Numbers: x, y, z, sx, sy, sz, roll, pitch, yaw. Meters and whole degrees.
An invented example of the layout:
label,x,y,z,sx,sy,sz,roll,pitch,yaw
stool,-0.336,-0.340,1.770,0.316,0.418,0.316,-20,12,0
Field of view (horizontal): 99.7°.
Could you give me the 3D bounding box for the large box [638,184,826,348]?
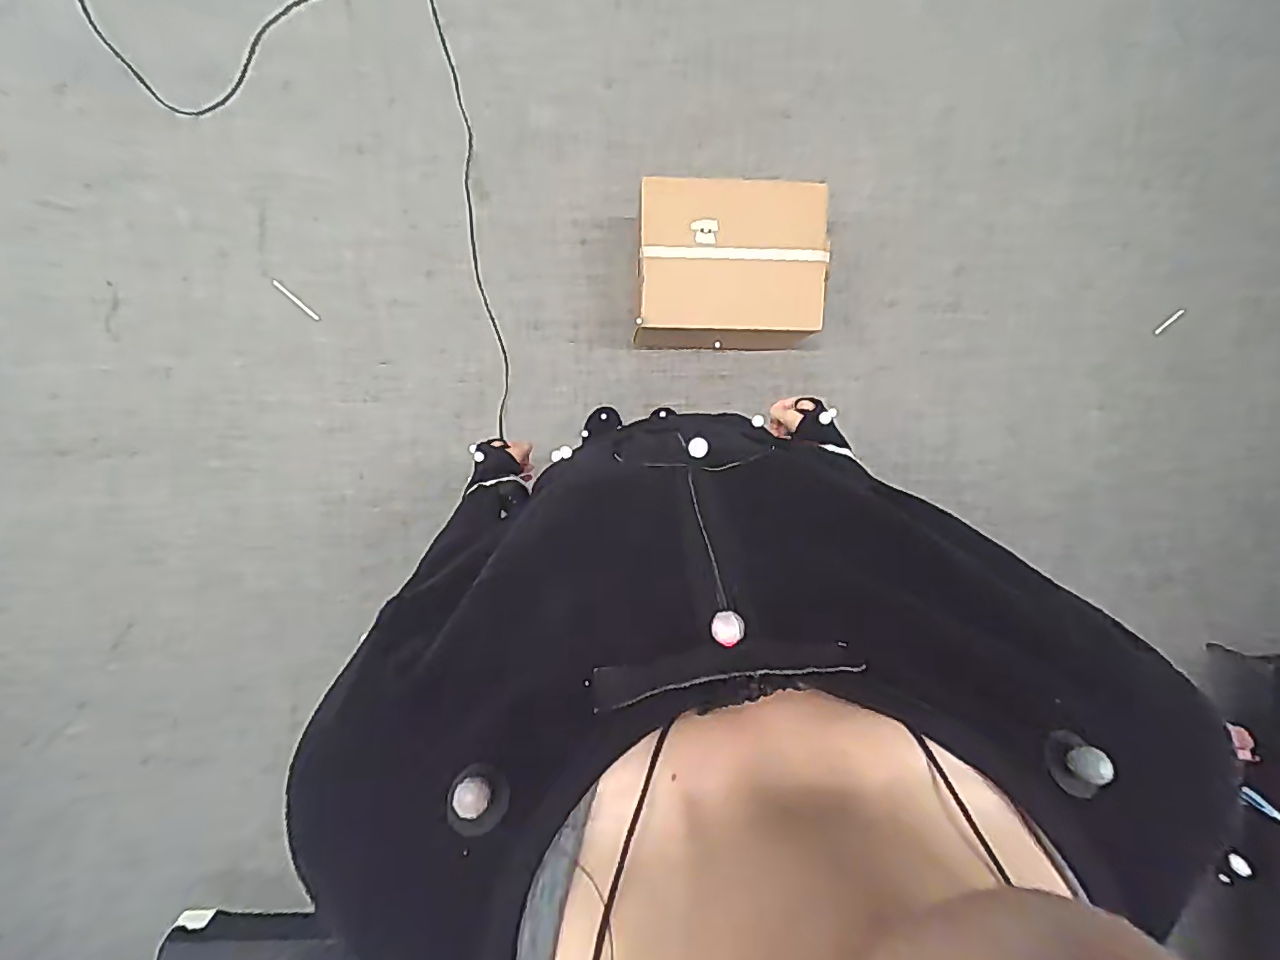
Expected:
label,x,y,z,sx,sy,sz,roll,pitch,yaw
large box,0.202,-0.496,1.320,0.408,0.320,0.320,1,95,-2
